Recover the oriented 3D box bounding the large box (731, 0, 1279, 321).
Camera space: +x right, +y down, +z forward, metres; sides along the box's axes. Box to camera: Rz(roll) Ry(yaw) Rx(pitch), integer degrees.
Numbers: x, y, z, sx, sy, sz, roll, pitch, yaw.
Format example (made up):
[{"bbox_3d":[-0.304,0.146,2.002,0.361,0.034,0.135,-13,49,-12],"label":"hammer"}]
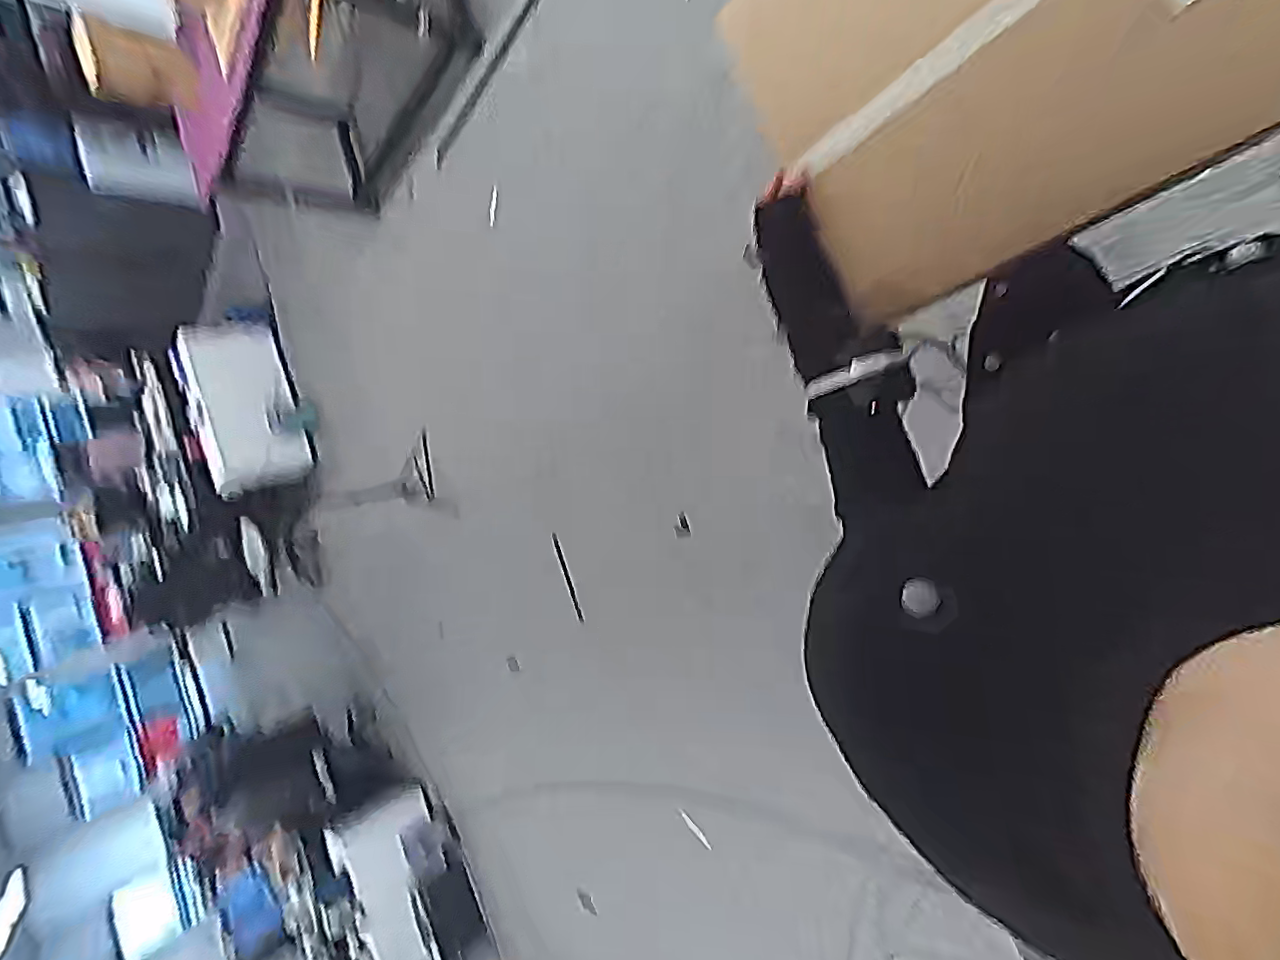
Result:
[{"bbox_3d":[0.365,-0.386,0.477,0.408,0.320,0.320,-24,94,41],"label":"large box"}]
